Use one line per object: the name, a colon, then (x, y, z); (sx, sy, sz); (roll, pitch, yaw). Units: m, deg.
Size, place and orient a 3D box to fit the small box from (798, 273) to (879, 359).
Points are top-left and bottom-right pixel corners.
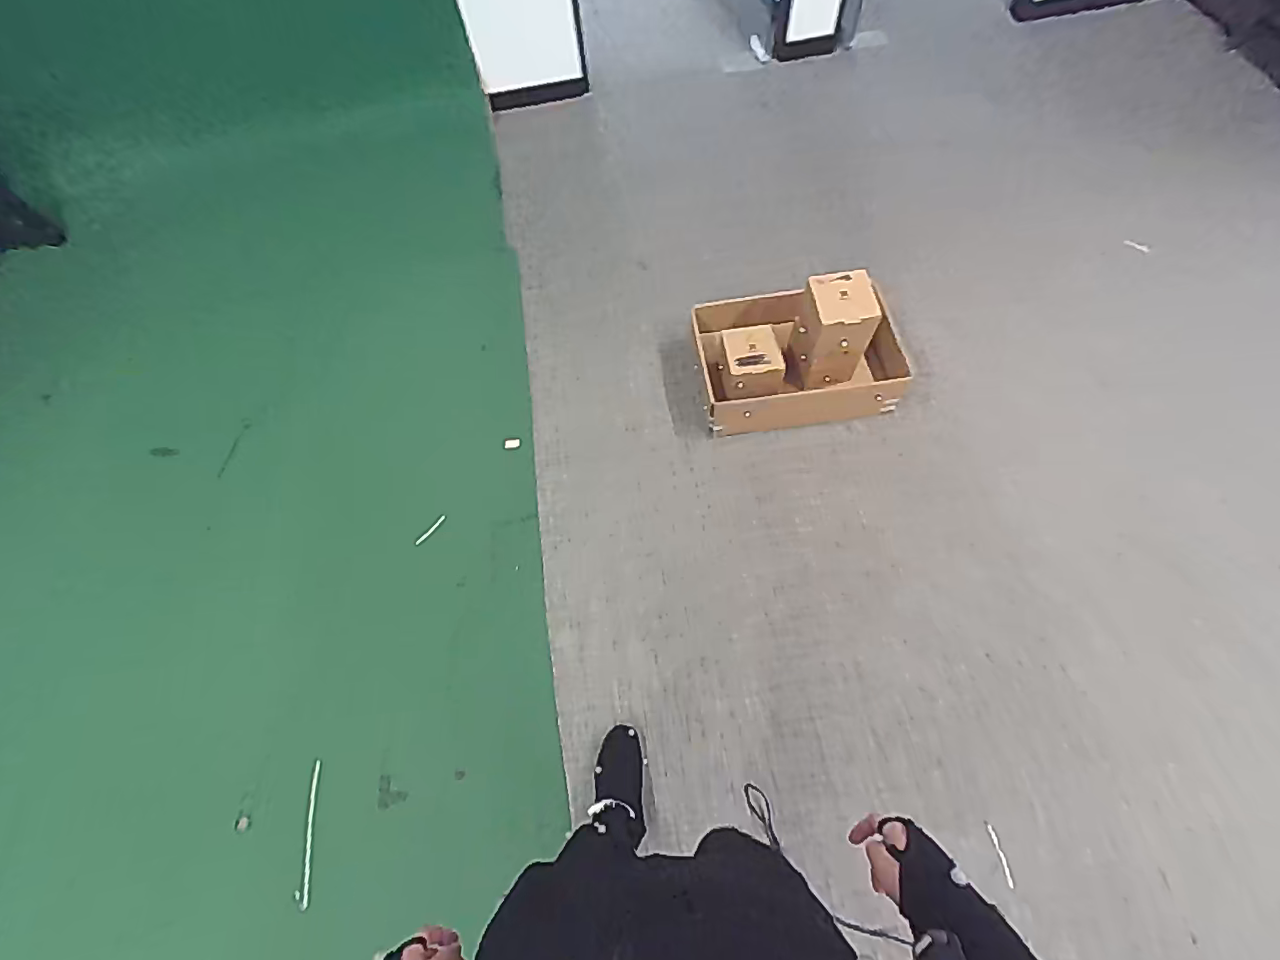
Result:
small box: (0.573, -0.471, 1.582); (0.168, 0.176, 0.179); (-7, 66, 2)
